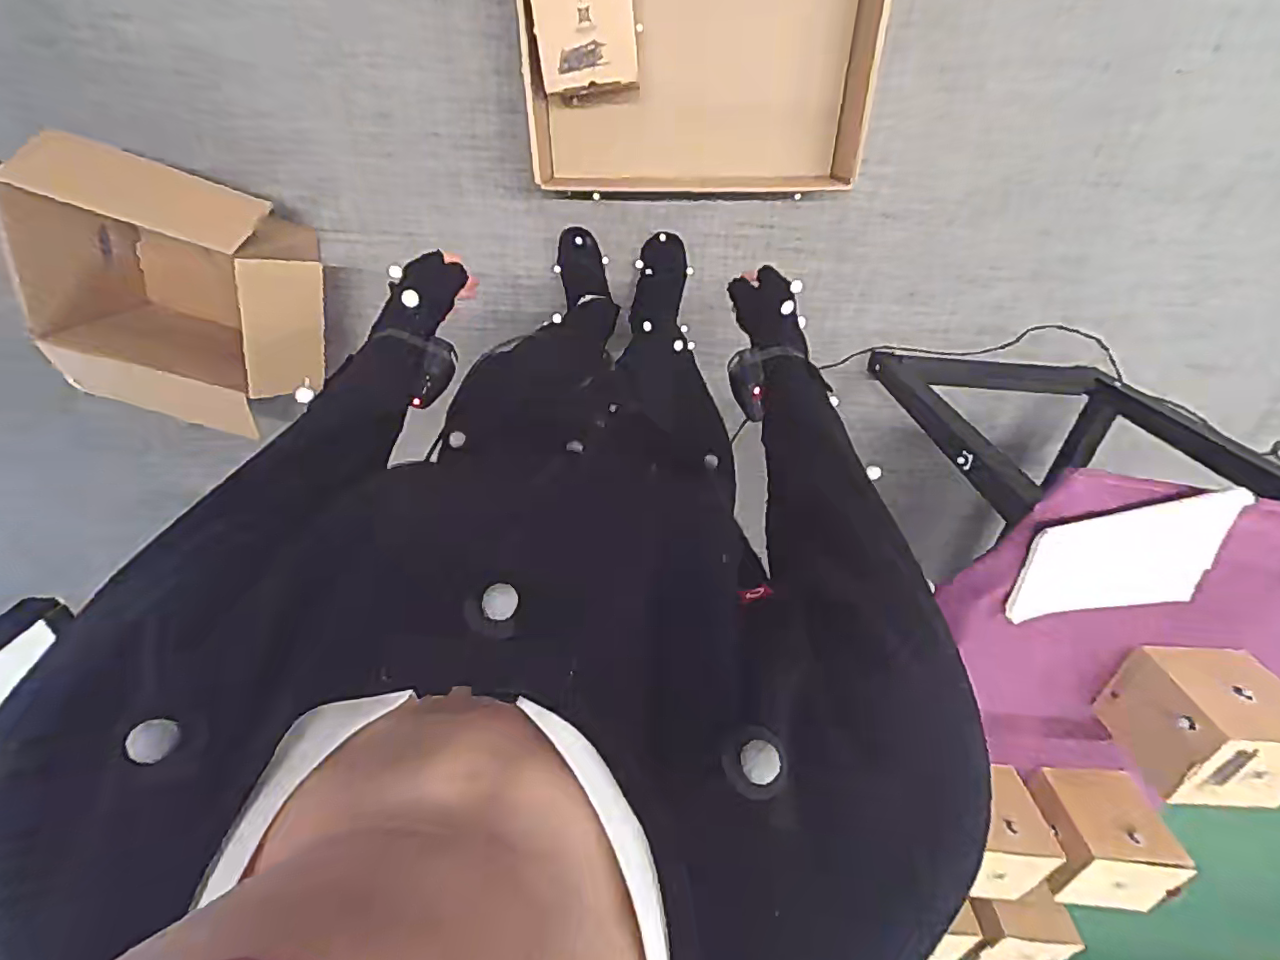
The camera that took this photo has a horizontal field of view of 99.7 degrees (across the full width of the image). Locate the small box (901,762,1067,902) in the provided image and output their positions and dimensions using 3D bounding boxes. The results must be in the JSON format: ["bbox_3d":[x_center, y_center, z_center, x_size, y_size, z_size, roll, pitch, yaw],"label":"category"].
[{"bbox_3d":[0.637,0.664,1.027,0.179,0.176,0.168,8,121,-3],"label":"small box"}]

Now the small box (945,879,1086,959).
[{"bbox_3d":[0.817,0.971,1.209,0.179,0.176,0.168,10,121,-3],"label":"small box"}]

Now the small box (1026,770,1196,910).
[{"bbox_3d":[0.865,0.682,1.034,0.179,0.176,0.168,3,121,-1],"label":"small box"}]
